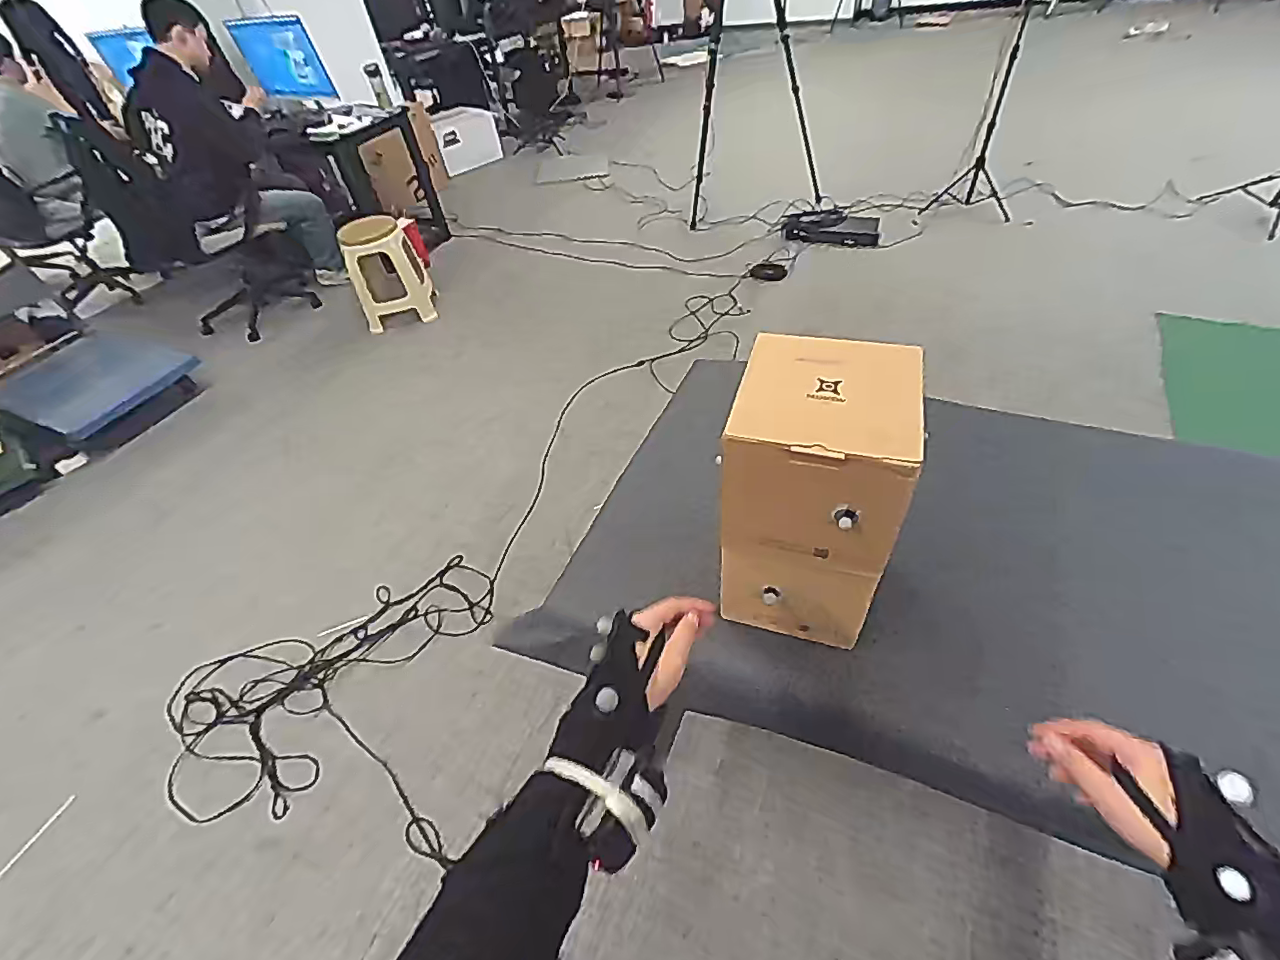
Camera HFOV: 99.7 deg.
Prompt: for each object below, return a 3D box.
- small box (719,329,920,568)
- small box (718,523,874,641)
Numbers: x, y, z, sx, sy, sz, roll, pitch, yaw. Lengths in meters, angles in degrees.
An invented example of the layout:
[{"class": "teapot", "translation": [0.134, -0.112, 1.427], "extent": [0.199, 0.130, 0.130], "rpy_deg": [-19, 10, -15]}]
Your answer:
[{"class": "small box", "translation": [0.182, -0.033, 0.567], "extent": [0.168, 0.176, 0.179], "rpy_deg": [11, 48, 16]}, {"class": "small box", "translation": [0.200, 0.077, 0.685], "extent": [0.168, 0.176, 0.179], "rpy_deg": [11, 49, 17]}]
